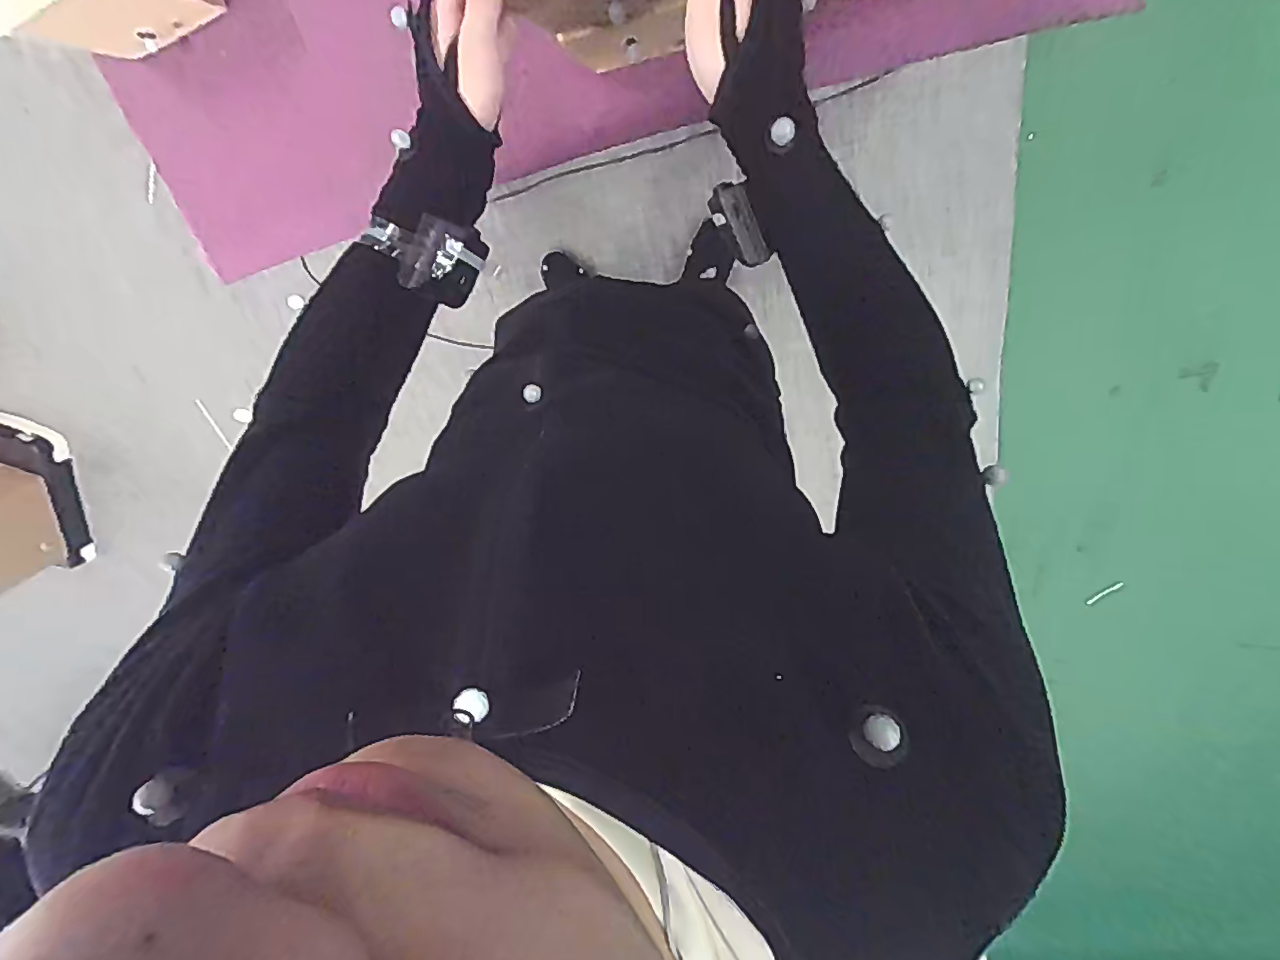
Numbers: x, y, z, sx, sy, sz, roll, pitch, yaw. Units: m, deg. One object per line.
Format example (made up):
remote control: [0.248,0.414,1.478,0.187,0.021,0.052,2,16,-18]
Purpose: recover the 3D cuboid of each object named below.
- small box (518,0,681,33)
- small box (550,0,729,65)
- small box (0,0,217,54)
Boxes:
small box: [-0.038,-0.452,0.370,0.168,0.176,0.179,-4,118,14]
small box: [-0.006,-0.534,0.526,0.168,0.176,0.179,-6,116,14]
small box: [-0.634,-0.610,0.591,0.168,0.176,0.179,-10,118,15]
